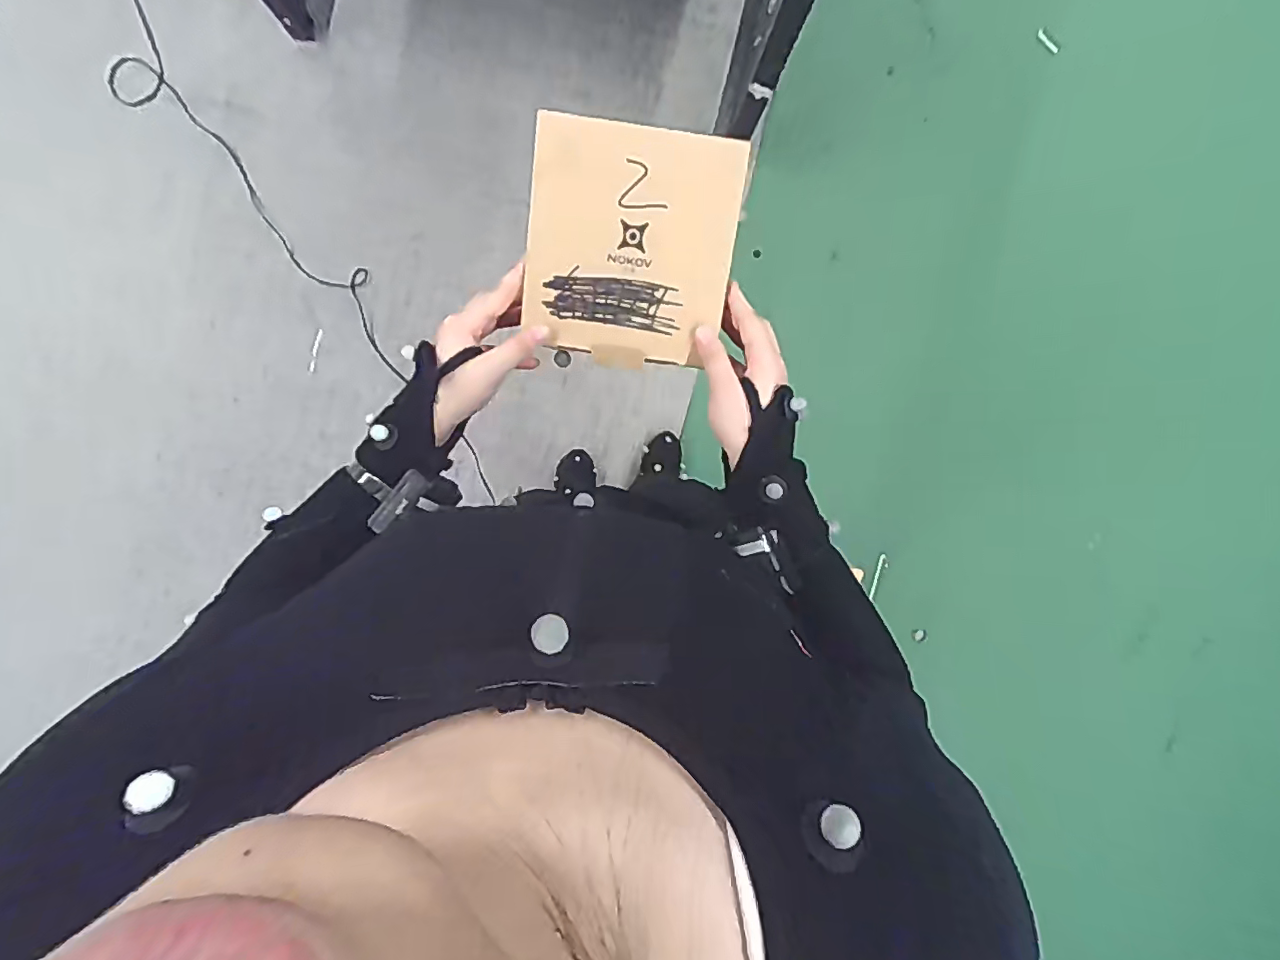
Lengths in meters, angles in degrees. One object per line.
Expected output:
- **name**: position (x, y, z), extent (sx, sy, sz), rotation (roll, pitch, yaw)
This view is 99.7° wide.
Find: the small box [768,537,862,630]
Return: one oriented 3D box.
- **small box**: position (0.460, 0.272, 1.455), extent (0.168, 0.176, 0.179), rotation (18, 94, -4)
